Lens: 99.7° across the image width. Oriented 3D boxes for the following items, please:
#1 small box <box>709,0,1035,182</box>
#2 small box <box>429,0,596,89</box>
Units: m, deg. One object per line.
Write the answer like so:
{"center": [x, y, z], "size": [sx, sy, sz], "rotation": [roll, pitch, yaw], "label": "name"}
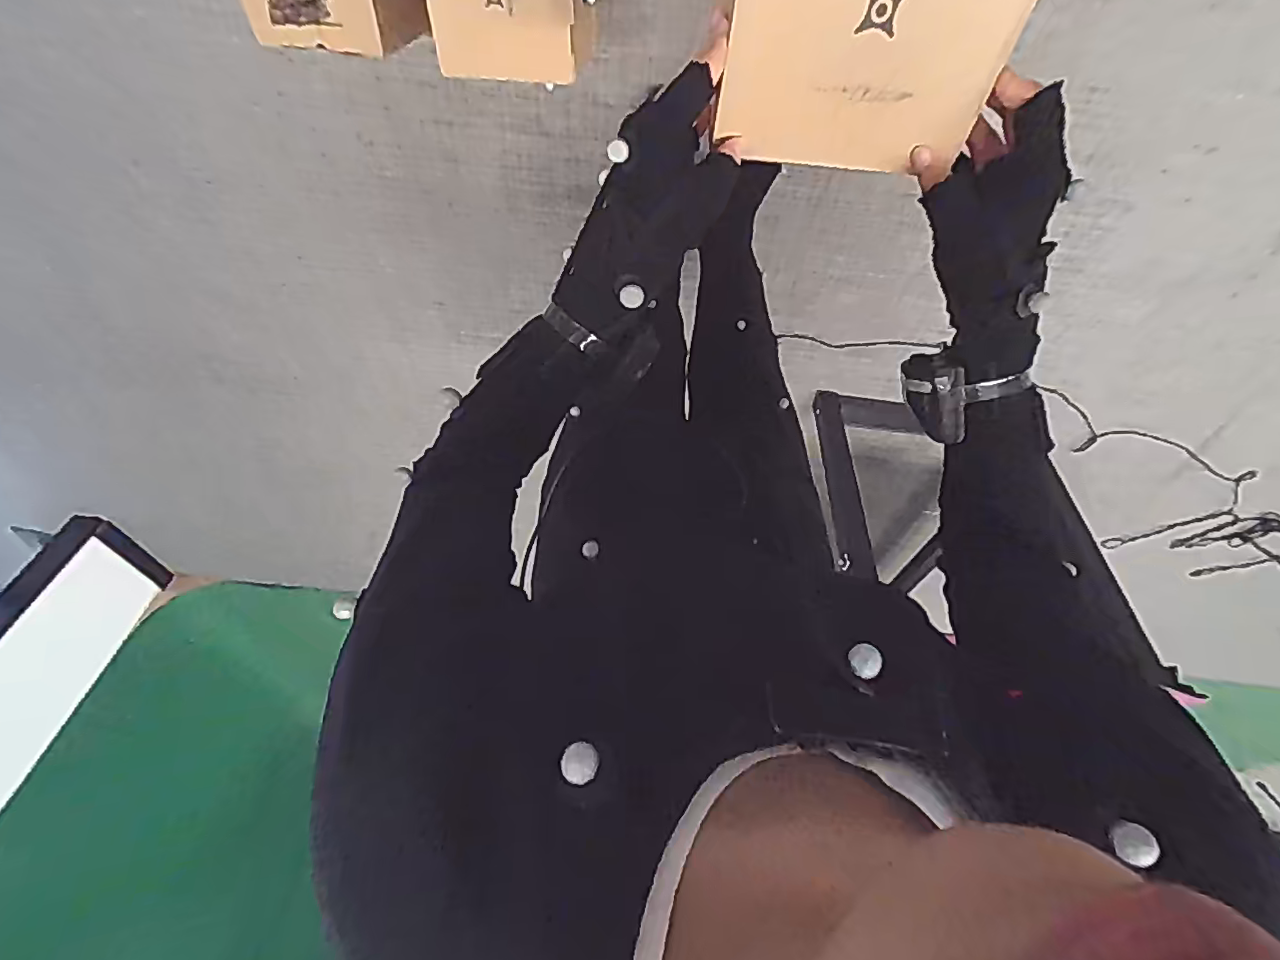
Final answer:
{"center": [0.140, -0.330, 0.354], "size": [0.168, 0.176, 0.179], "rotation": [5, 143, -2], "label": "small box"}
{"center": [-0.155, -0.617, 0.680], "size": [0.179, 0.176, 0.168], "rotation": [4, 140, 2], "label": "small box"}
